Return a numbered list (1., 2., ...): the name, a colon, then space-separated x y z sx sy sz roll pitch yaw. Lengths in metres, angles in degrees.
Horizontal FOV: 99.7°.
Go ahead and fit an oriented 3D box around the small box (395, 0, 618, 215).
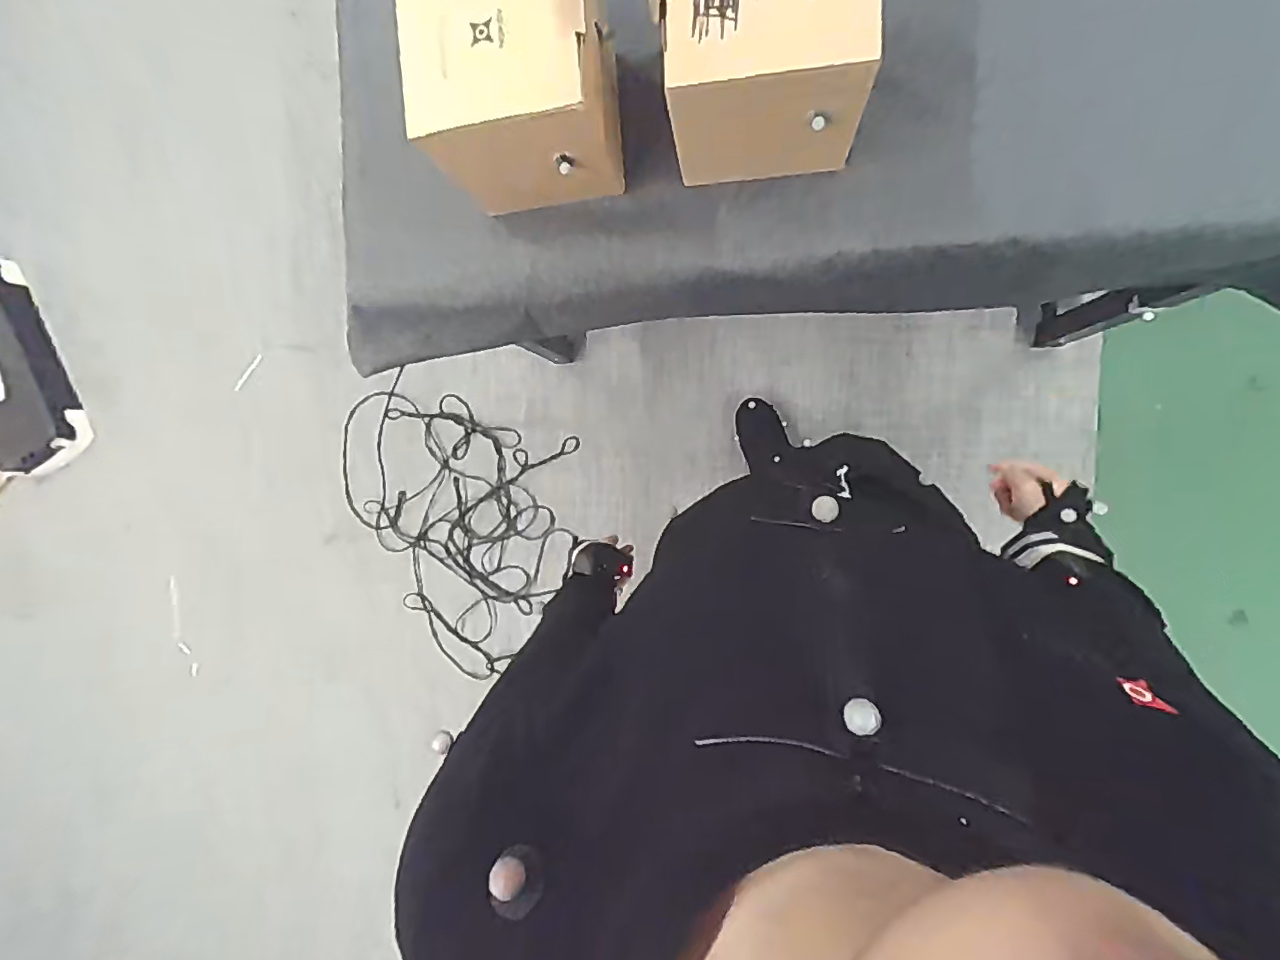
1. small box: -0.124 -0.405 0.566 0.179 0.176 0.168 -5 90 11
